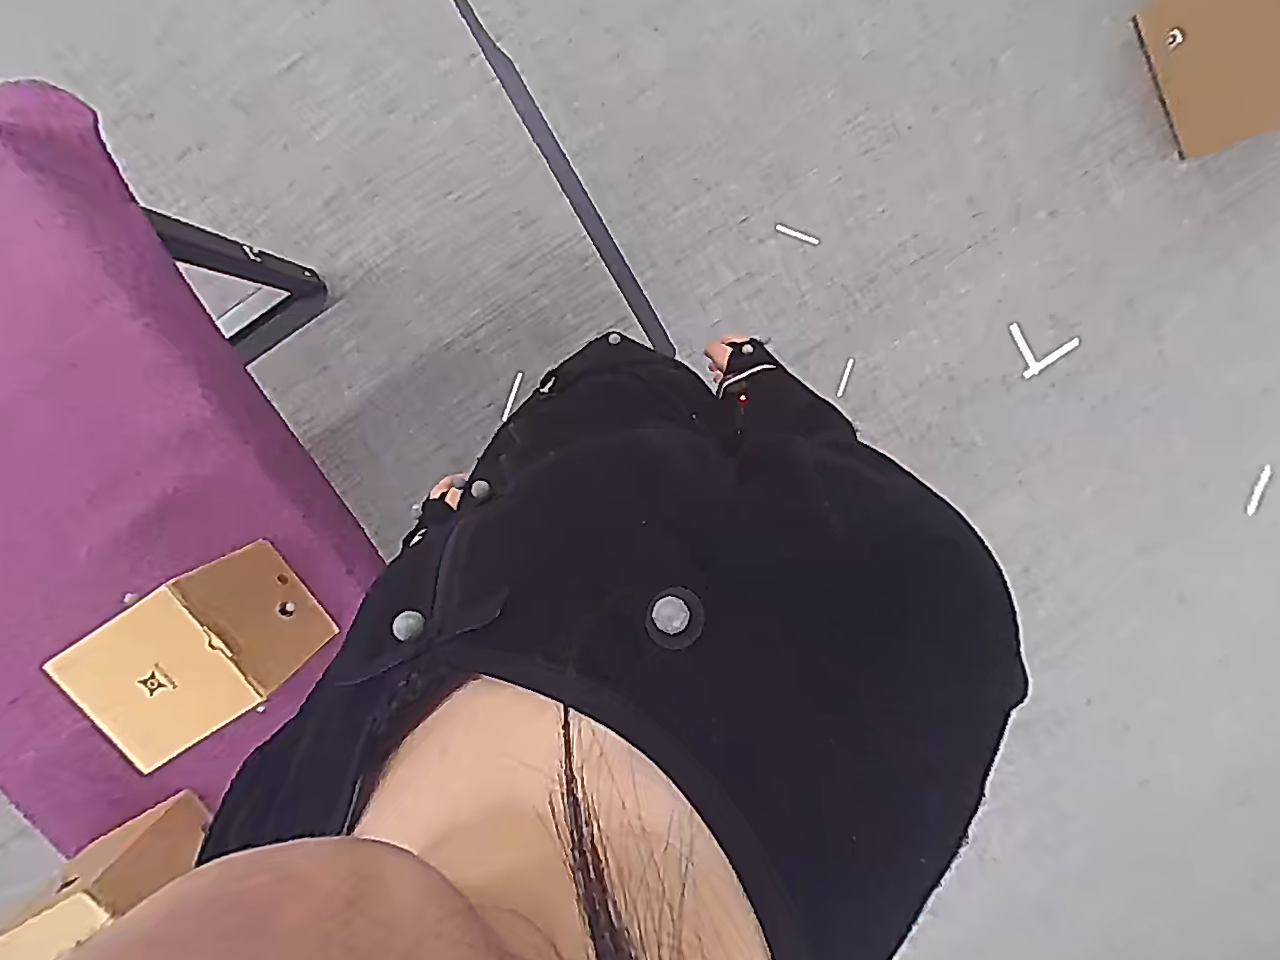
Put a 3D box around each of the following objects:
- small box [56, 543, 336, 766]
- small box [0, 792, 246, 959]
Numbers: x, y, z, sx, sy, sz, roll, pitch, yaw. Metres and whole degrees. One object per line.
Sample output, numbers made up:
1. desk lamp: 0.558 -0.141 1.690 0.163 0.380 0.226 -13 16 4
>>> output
1. small box: -0.537 0.207 0.685 0.179 0.176 0.168 -33 100 4
2. small box: -0.690 0.576 0.738 0.179 0.176 0.168 -30 100 2
